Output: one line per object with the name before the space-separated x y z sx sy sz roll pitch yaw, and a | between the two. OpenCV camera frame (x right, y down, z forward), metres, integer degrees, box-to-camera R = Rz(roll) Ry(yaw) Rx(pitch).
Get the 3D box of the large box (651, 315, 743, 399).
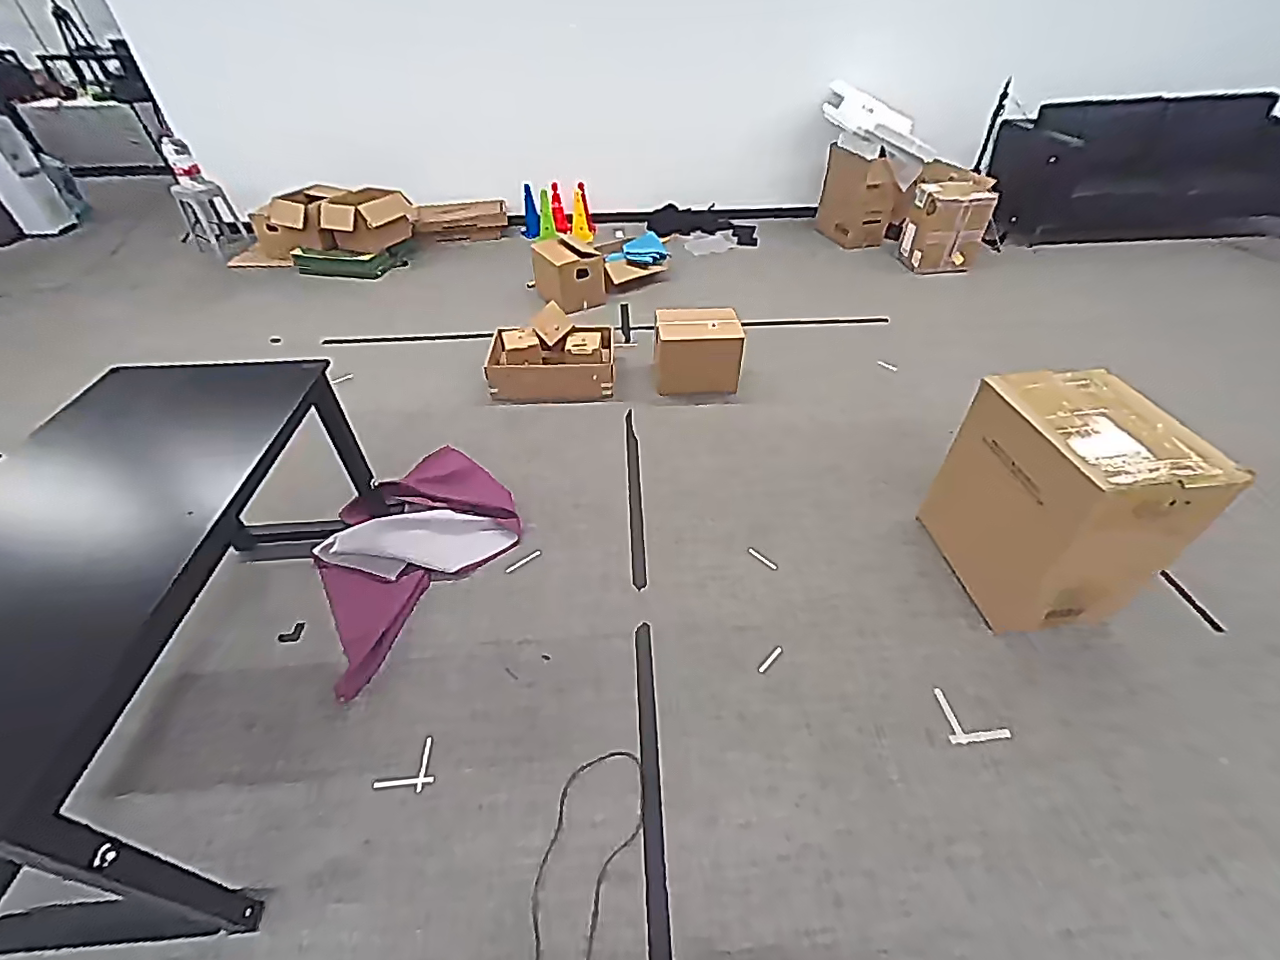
large box | 0.274 -0.625 2.742 0.408 0.320 0.320 -2 43 -4
